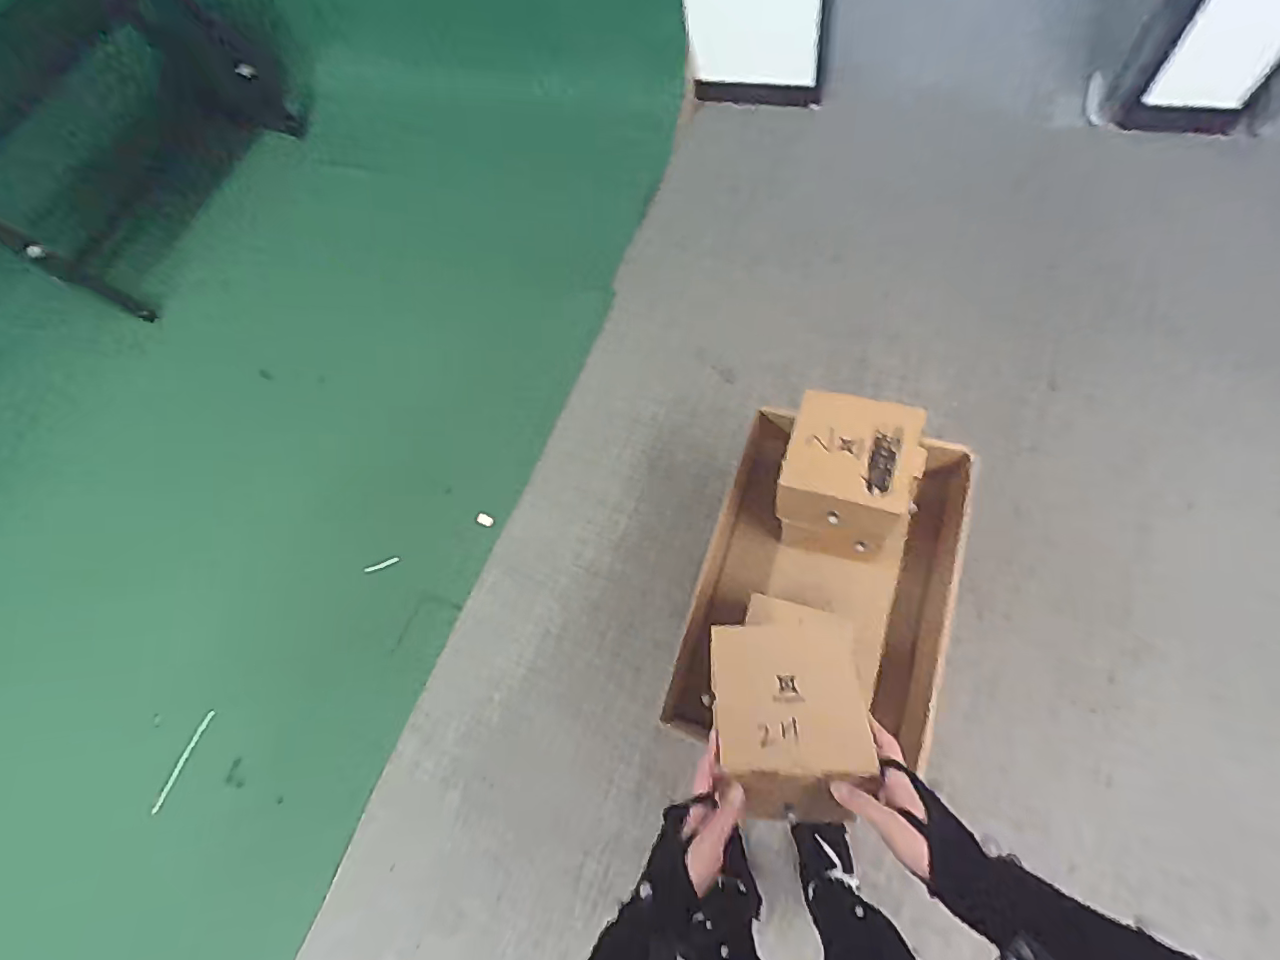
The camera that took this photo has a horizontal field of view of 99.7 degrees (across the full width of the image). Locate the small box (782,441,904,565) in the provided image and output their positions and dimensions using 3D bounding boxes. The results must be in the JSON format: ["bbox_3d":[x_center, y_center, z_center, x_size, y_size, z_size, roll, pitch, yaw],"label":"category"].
[{"bbox_3d":[0.366,0.048,1.000,0.179,0.176,0.168,12,72,17],"label":"small box"}]

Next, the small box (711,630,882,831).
[{"bbox_3d":[0.174,0.306,0.667,0.168,0.176,0.179,-3,43,5],"label":"small box"}]
